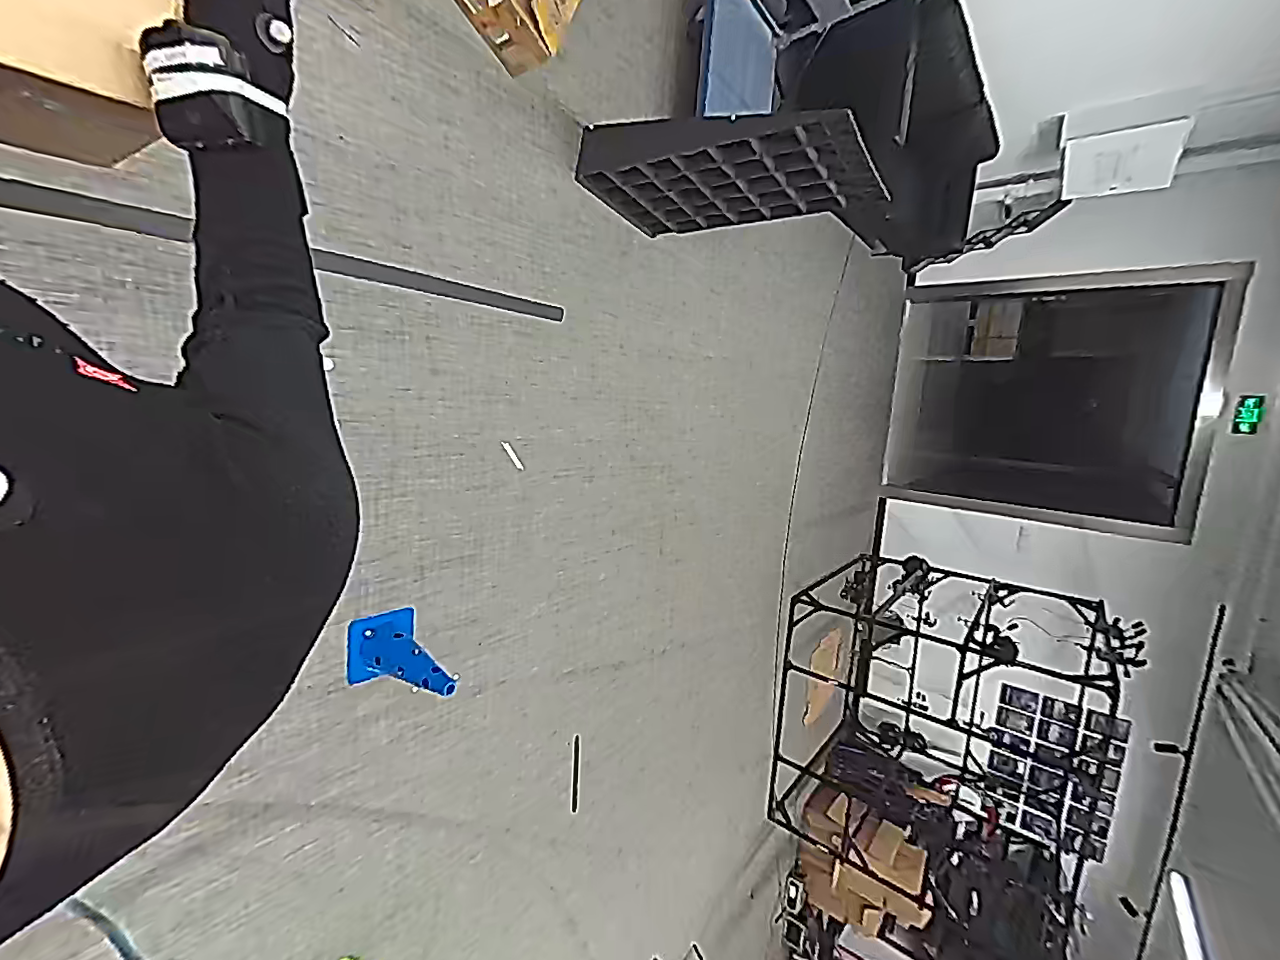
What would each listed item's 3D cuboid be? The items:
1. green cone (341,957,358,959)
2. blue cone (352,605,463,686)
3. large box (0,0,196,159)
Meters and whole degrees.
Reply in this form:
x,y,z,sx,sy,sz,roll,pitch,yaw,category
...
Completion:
x,y,z,sx,sy,sz,roll,pitch,yaw,category
-0.798,1.629,1.574,0.202,0.368,0.200,-53,136,-33,green cone
-0.643,0.509,1.541,0.192,0.380,0.193,-2,100,-54,blue cone
-0.549,-0.421,0.291,0.408,0.320,0.320,-11,112,-52,large box
